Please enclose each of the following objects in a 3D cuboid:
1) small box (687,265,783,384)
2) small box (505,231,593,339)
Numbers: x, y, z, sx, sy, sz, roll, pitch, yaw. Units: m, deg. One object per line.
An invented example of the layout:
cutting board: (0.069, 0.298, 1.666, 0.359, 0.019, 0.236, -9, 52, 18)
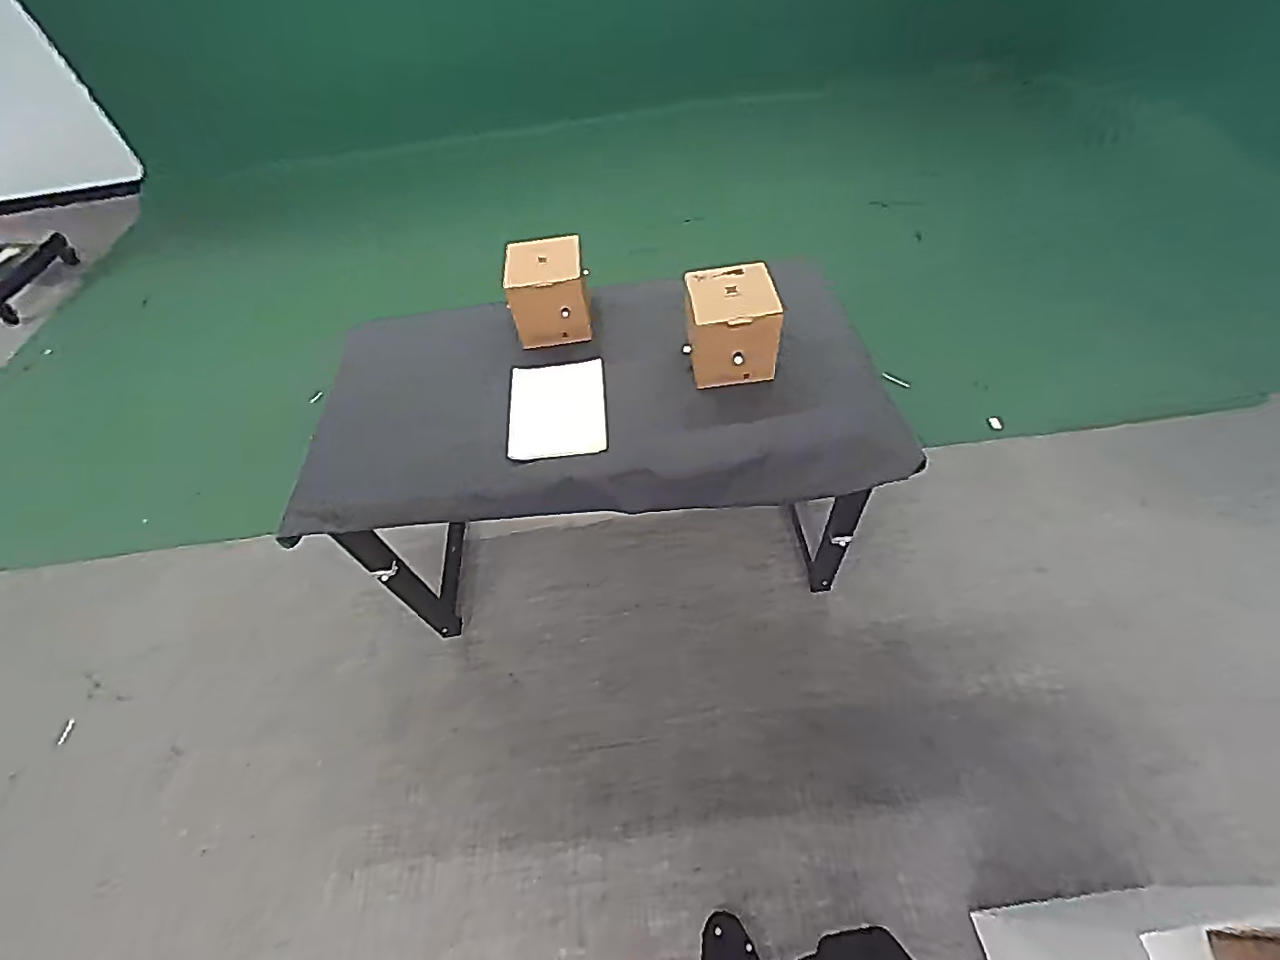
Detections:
small box: (0.192, -0.315, 1.128, 0.168, 0.176, 0.179, -7, 55, 1)
small box: (-0.204, -0.442, 1.248, 0.168, 0.176, 0.179, -7, 53, 0)
